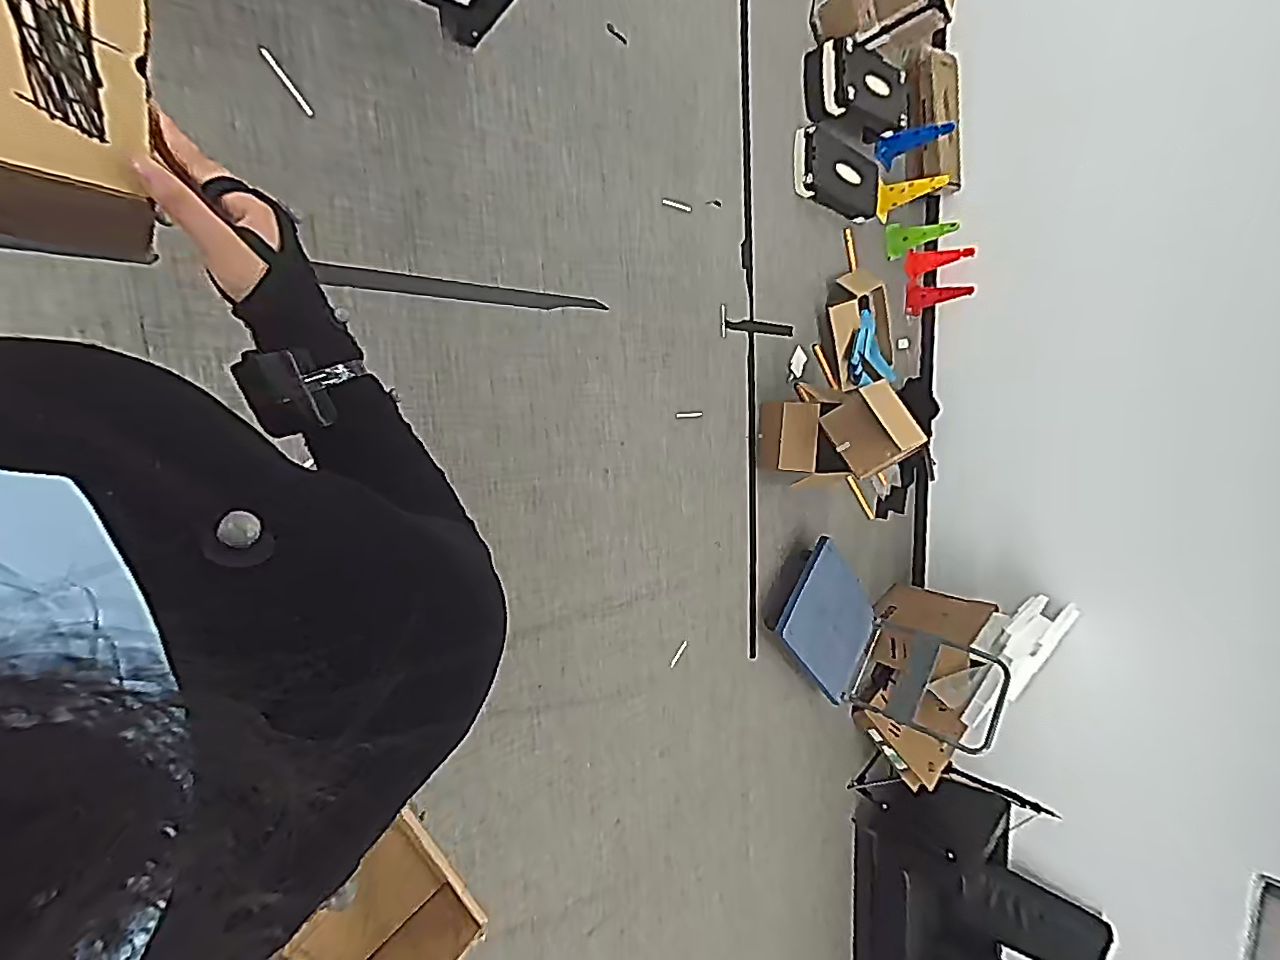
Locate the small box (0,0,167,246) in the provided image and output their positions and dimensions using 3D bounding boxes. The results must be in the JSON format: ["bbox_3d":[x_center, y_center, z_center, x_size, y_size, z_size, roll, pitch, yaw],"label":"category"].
[{"bbox_3d":[-0.428,-0.269,0.350,0.179,0.176,0.168,-1,94,-43],"label":"small box"}]
